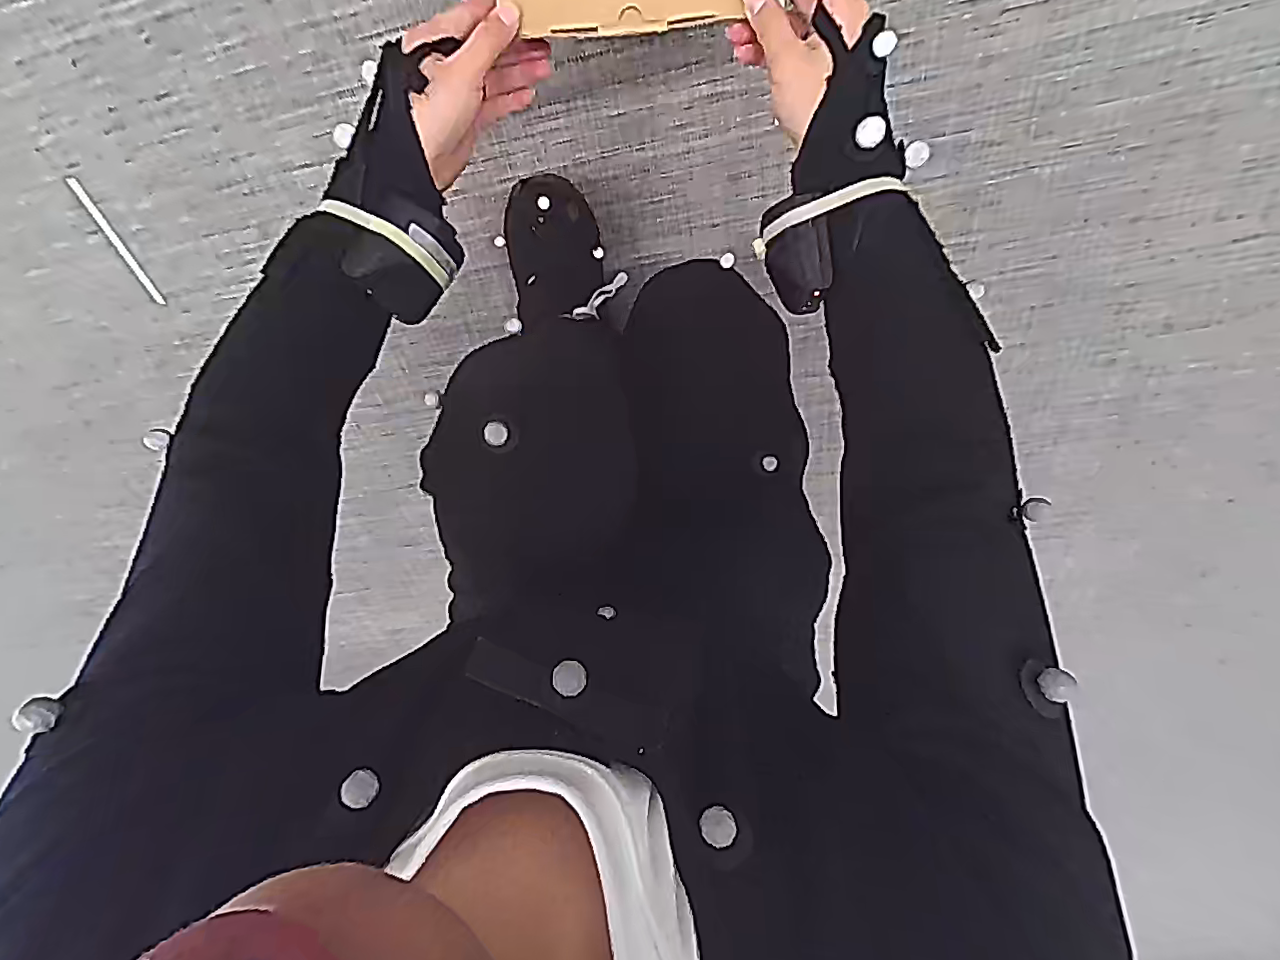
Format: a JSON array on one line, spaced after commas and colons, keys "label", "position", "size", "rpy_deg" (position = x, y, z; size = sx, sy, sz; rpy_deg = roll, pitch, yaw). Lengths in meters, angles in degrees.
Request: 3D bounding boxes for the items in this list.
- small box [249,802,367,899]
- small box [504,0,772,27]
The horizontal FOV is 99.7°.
[{"label": "small box", "position": [-0.869, 0.982, 1.435], "size": [0.179, 0.176, 0.168], "rpy_deg": [-11, 129, 7]}, {"label": "small box", "position": [-0.005, -0.401, 0.337], "size": [0.168, 0.176, 0.179], "rpy_deg": [-2, 131, 4]}]
